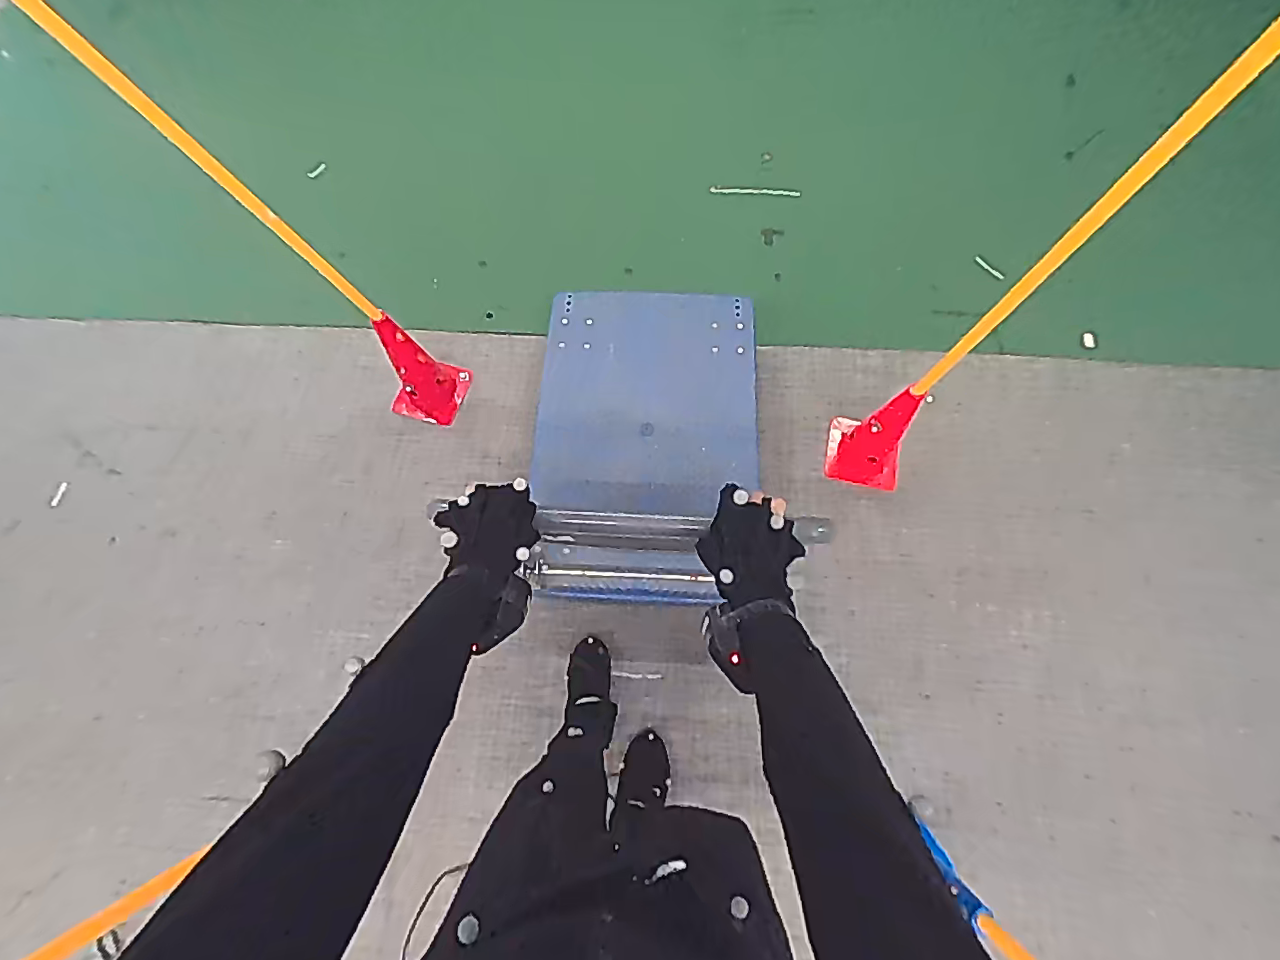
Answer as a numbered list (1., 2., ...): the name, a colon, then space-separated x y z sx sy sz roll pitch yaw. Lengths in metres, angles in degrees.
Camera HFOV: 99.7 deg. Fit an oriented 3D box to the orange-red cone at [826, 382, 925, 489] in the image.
1. orange-red cone: 0.635 -0.141 1.388 0.198 0.360 0.199 13 70 7
